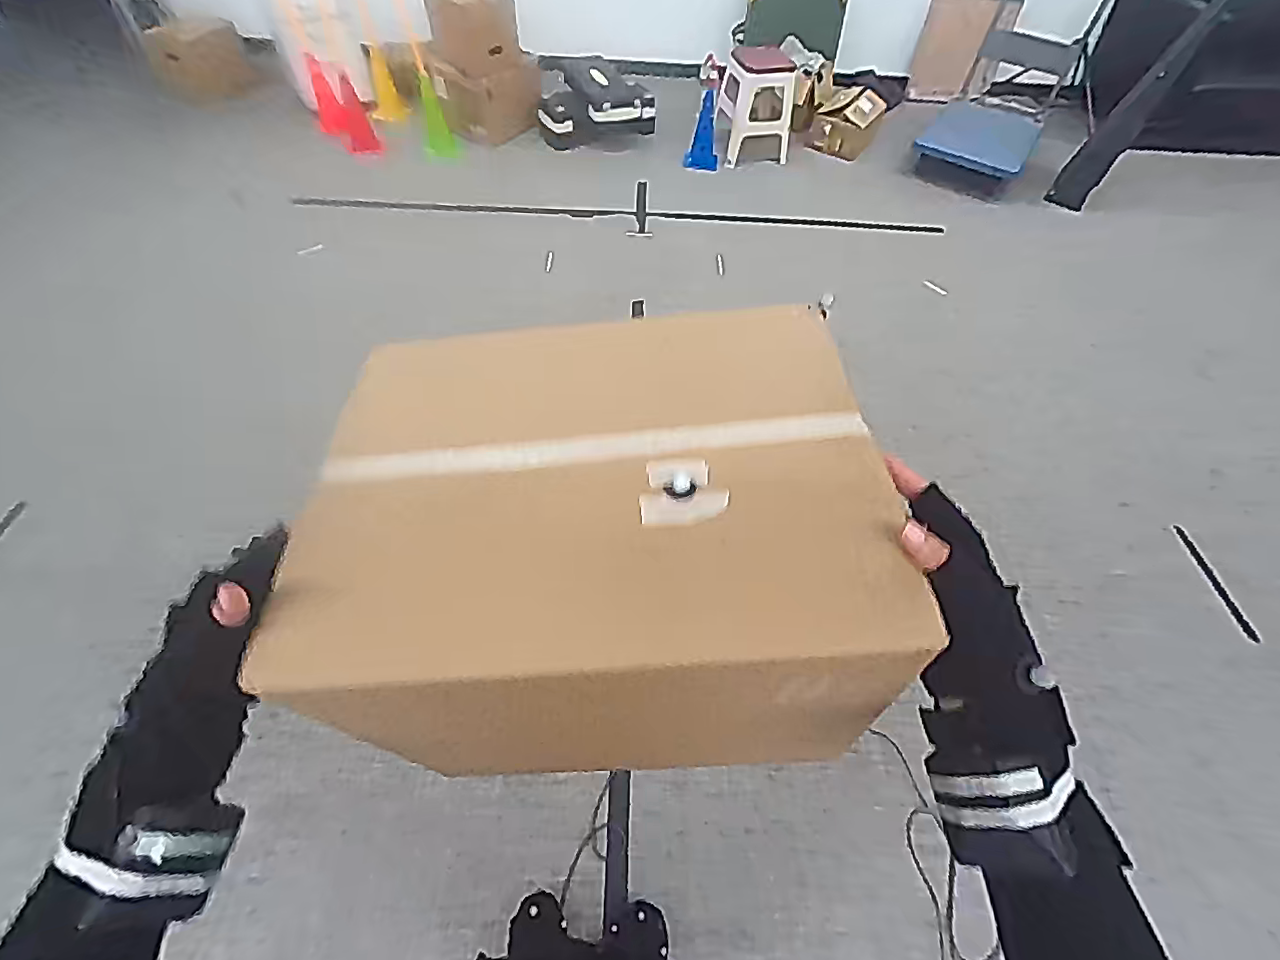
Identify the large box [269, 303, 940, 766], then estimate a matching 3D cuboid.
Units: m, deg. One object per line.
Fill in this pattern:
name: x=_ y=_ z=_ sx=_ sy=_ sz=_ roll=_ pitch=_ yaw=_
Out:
large box: x=-0.020 y=0.064 z=0.521 sx=0.408 sy=0.320 sz=0.320 roll=-4 pitch=52 yaw=2
